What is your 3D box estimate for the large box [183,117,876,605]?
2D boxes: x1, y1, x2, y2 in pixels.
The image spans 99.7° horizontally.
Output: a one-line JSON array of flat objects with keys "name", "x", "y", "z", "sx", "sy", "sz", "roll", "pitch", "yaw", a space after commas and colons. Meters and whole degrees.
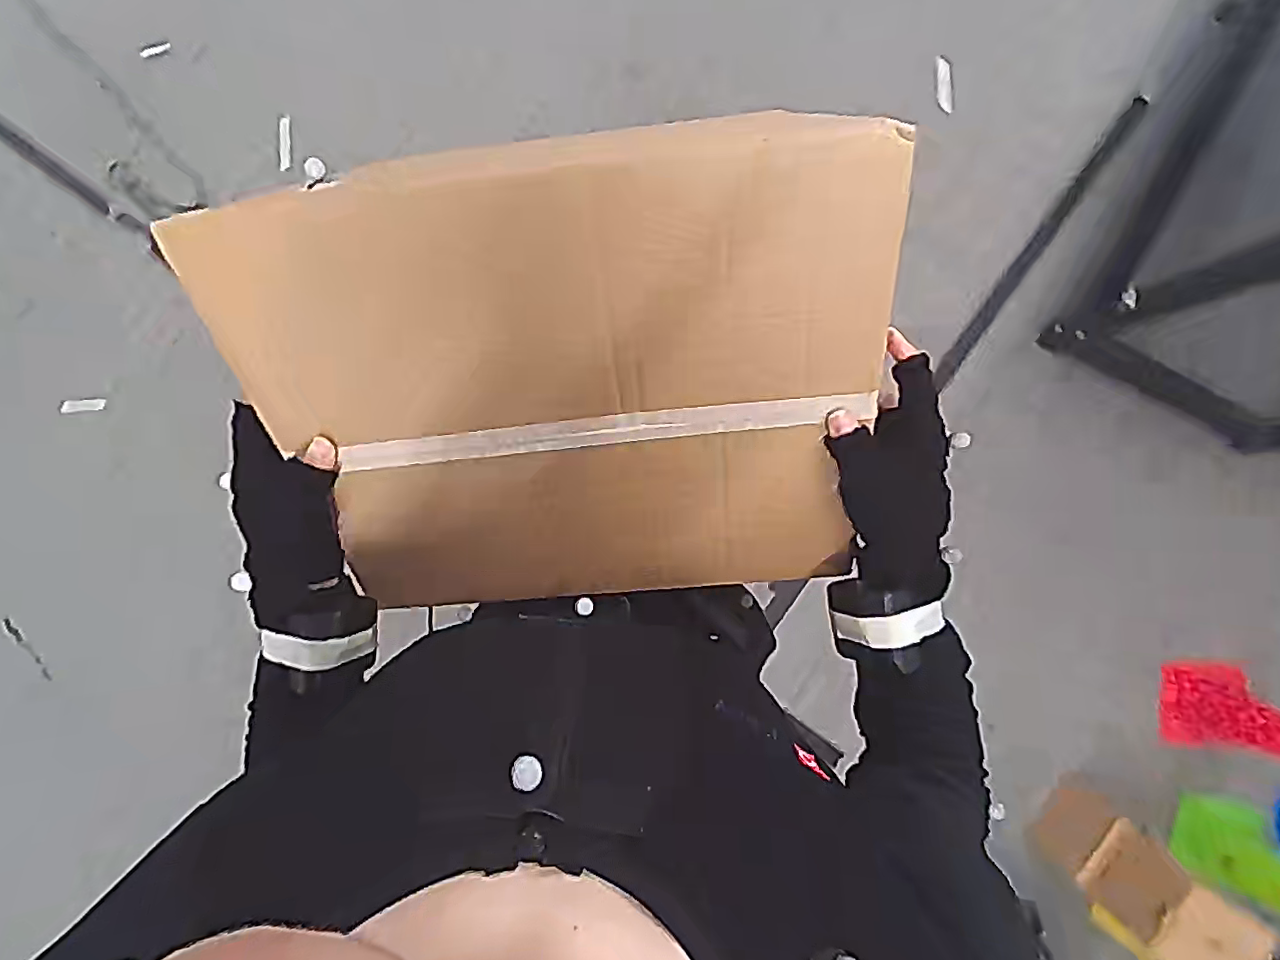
[{"name": "large box", "x": -0.053, "y": -0.121, "z": 0.502, "sx": 0.408, "sy": 0.320, "sz": 0.320, "roll": -7, "pitch": 126, "yaw": 4}]
